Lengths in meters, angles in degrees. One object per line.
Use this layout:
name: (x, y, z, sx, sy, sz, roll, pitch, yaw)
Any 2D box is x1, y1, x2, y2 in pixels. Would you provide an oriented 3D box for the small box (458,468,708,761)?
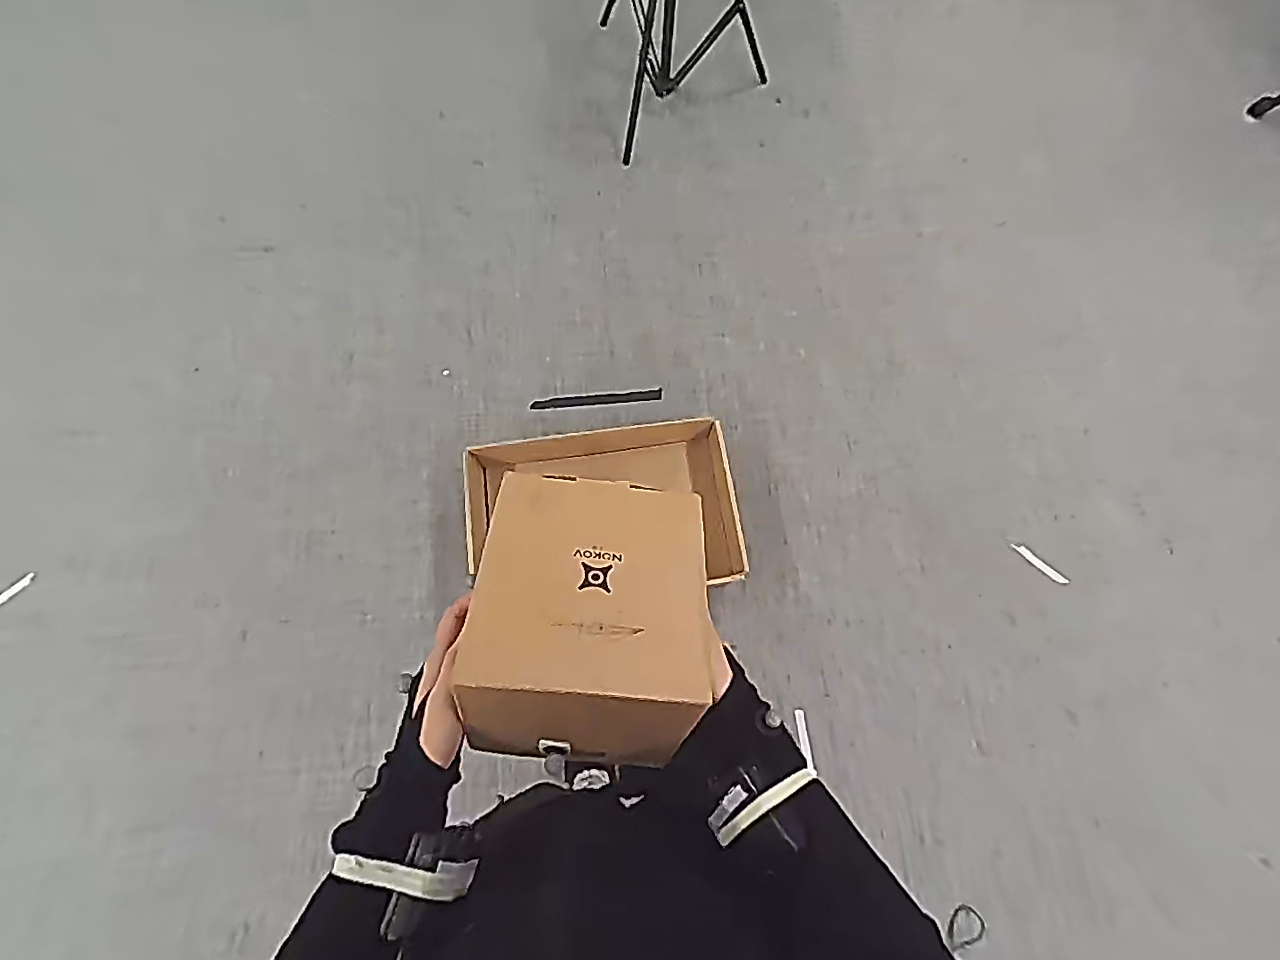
small box: (-0.046, 0.117, 0.458, 0.168, 0.176, 0.179, 7, 50, -6)
